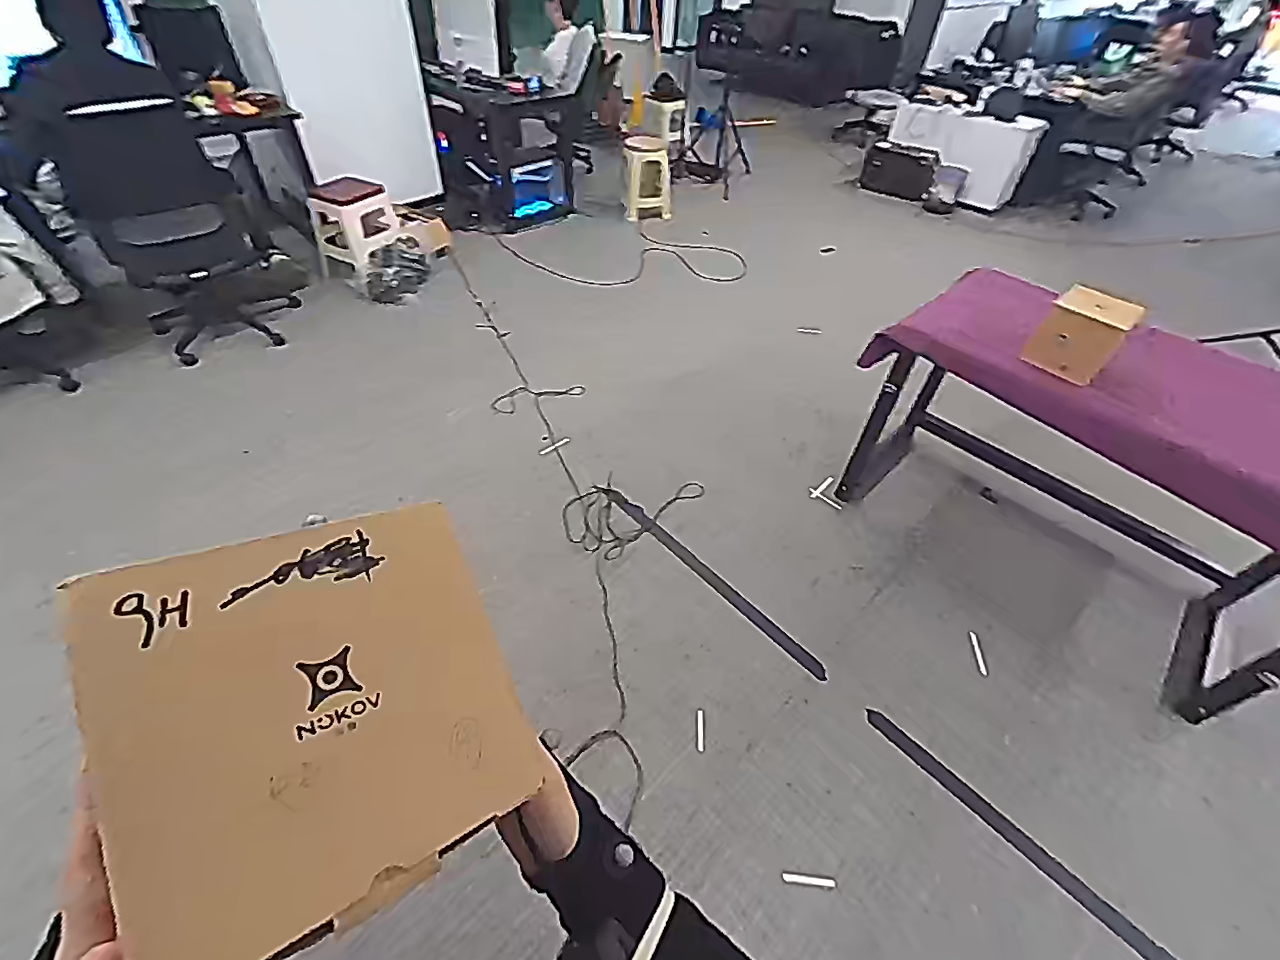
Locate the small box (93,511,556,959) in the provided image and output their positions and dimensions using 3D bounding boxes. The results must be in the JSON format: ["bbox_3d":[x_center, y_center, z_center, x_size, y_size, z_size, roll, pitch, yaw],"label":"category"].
[{"bbox_3d":[-0.180,0.142,0.321,0.168,0.176,0.179,-14,73,-40],"label":"small box"}]

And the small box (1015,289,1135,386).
[{"bbox_3d":[1.133,-0.373,1.422,0.179,0.176,0.168,-32,55,-31],"label":"small box"}]
